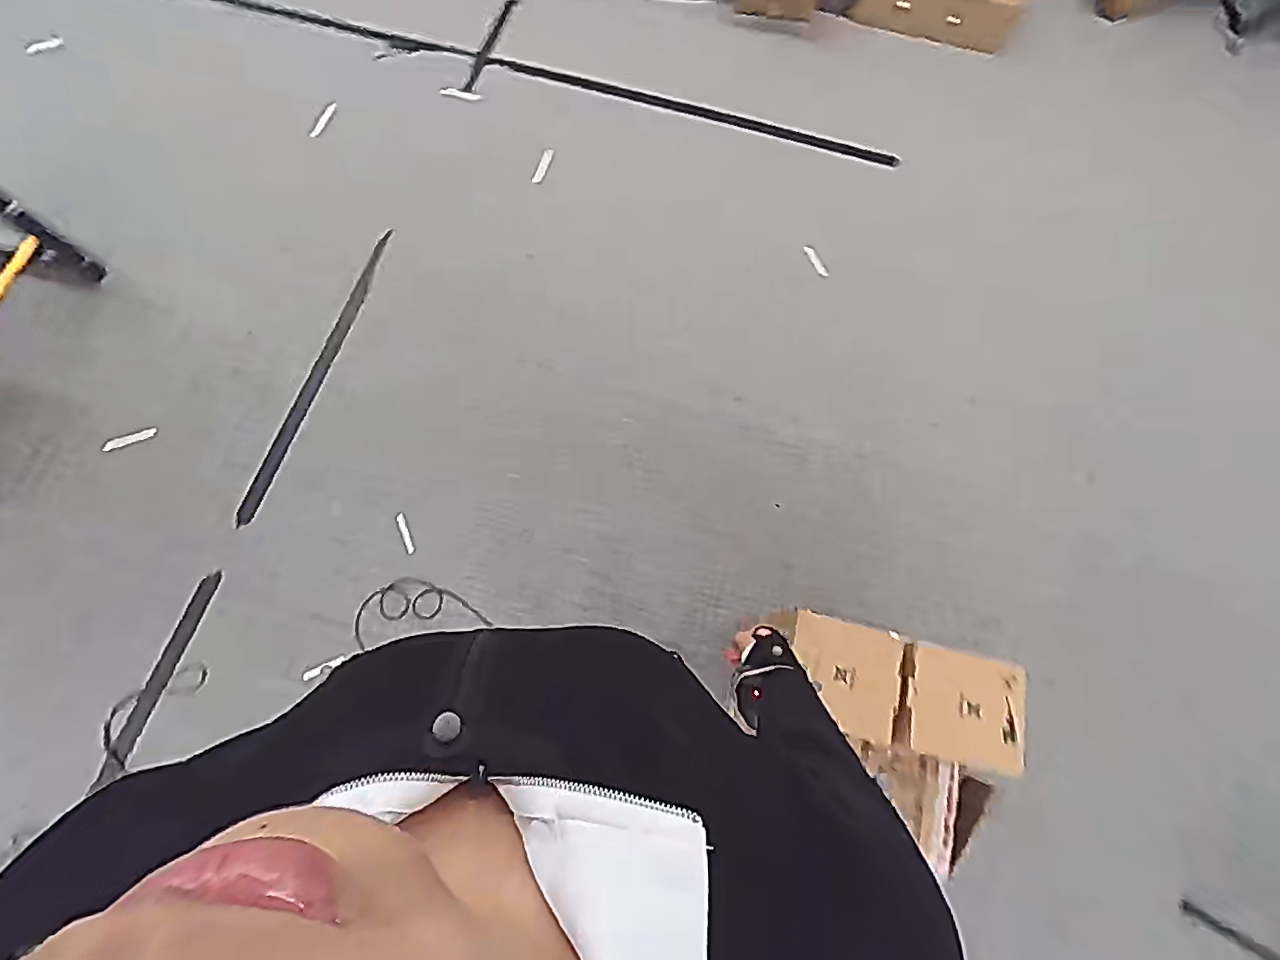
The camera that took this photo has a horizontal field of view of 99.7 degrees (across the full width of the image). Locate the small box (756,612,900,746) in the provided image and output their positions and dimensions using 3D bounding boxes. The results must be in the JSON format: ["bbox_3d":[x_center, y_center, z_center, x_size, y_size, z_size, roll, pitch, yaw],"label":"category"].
[{"bbox_3d":[0.316,0.338,0.937,0.179,0.176,0.168,16,72,5],"label":"small box"}]
